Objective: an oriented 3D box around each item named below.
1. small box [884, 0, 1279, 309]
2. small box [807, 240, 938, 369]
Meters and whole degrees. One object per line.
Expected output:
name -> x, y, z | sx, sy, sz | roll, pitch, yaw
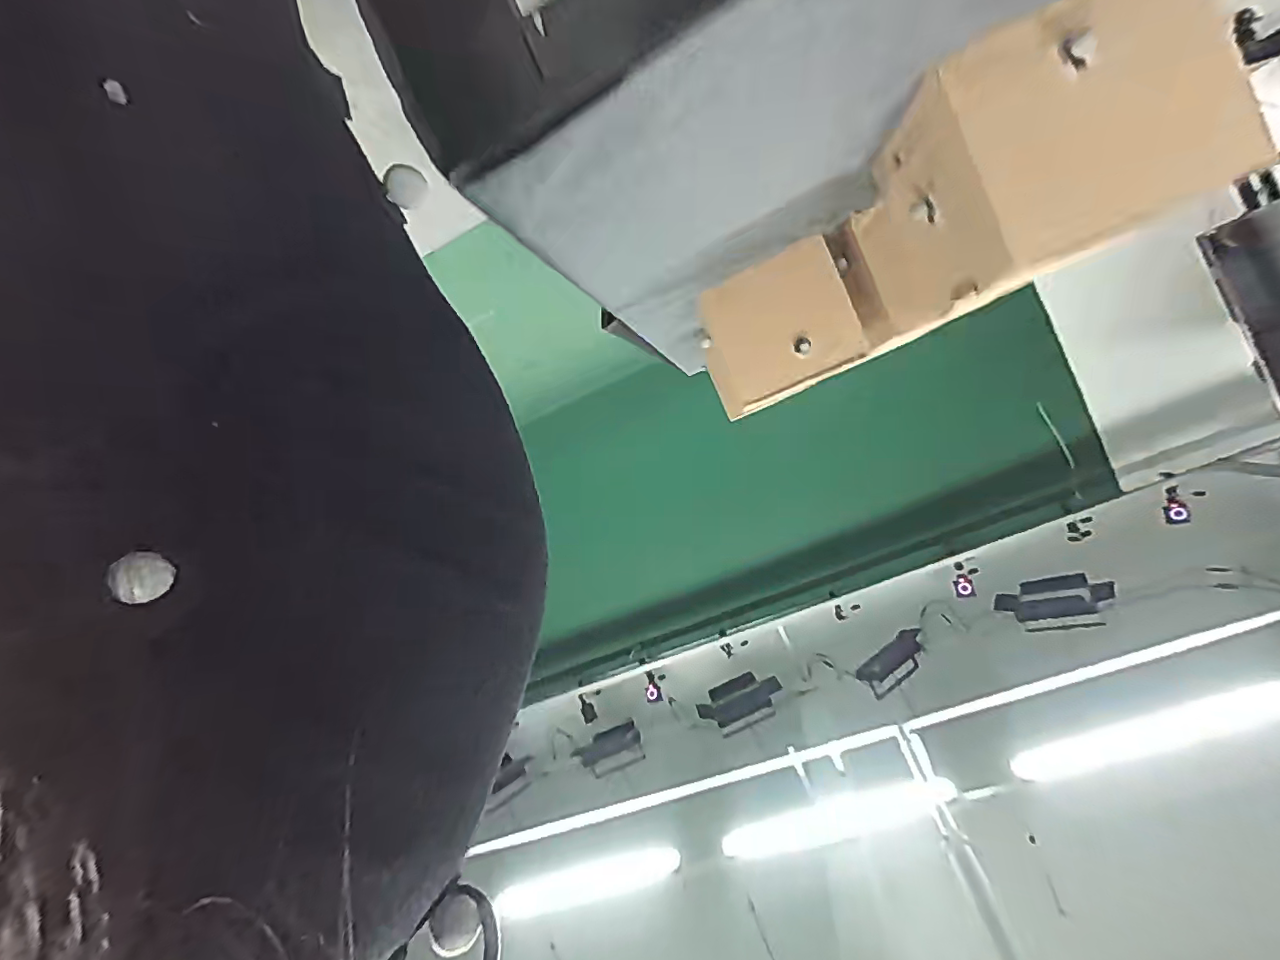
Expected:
small box -> 0.333, -0.273, 0.449 | 0.179, 0.176, 0.168 | -23, -178, 11
small box -> 0.435, -0.331, 1.041 | 0.168, 0.176, 0.179 | -24, 180, 13
